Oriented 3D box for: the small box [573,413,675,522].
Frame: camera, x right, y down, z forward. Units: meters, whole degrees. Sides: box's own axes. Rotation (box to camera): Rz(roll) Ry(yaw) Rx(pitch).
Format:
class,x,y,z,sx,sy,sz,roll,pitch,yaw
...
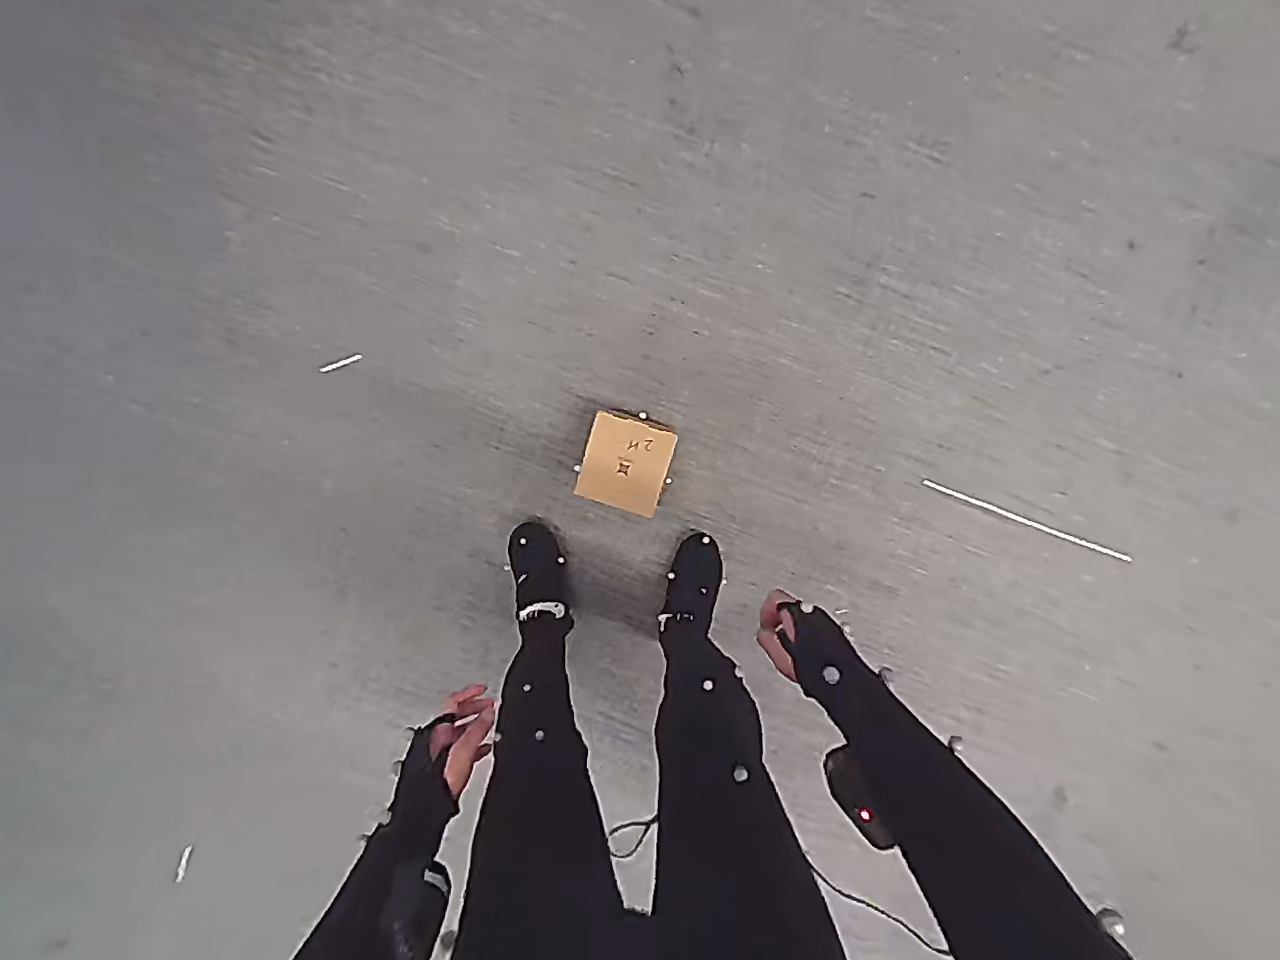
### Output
class,x,y,z,sx,sy,sz,roll,pitch,yaw
small box,-0.028,-0.033,1.132,0.168,0.176,0.179,17,99,0
